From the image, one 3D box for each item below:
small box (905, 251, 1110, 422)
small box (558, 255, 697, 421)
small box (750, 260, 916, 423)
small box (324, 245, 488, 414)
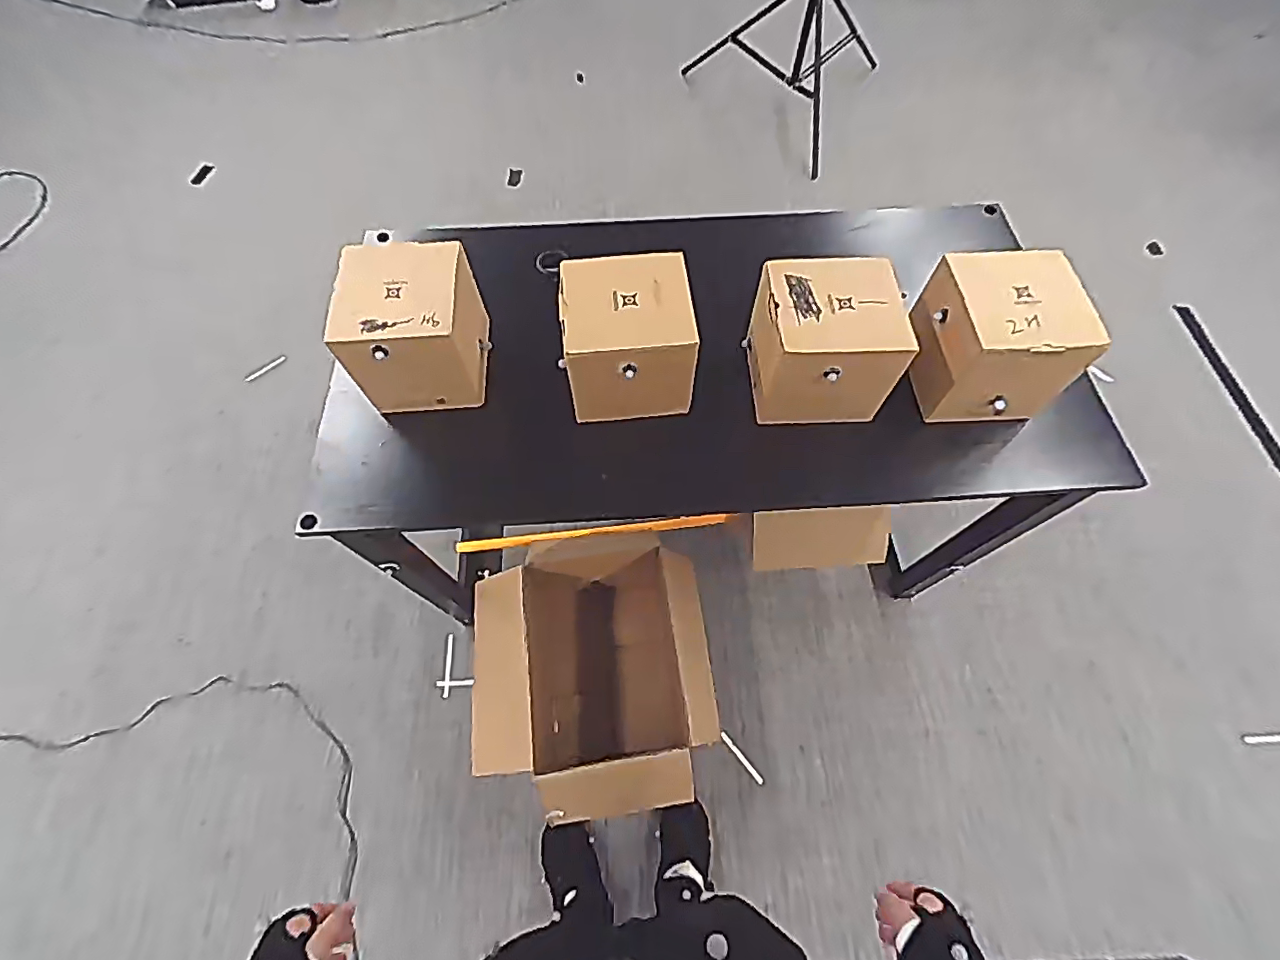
[{"bbox_3d":[0.506,-0.202,0.784,0.168,0.176,0.179,-3,63,1],"label":"small box"},{"bbox_3d":[-0.019,-0.200,0.792,0.179,0.176,0.168,-5,65,-3],"label":"small box"},{"bbox_3d":[0.261,-0.193,0.783,0.179,0.176,0.168,-1,63,0],"label":"small box"},{"bbox_3d":[-0.329,-0.218,0.802,0.168,0.176,0.179,-4,63,-2],"label":"small box"}]
